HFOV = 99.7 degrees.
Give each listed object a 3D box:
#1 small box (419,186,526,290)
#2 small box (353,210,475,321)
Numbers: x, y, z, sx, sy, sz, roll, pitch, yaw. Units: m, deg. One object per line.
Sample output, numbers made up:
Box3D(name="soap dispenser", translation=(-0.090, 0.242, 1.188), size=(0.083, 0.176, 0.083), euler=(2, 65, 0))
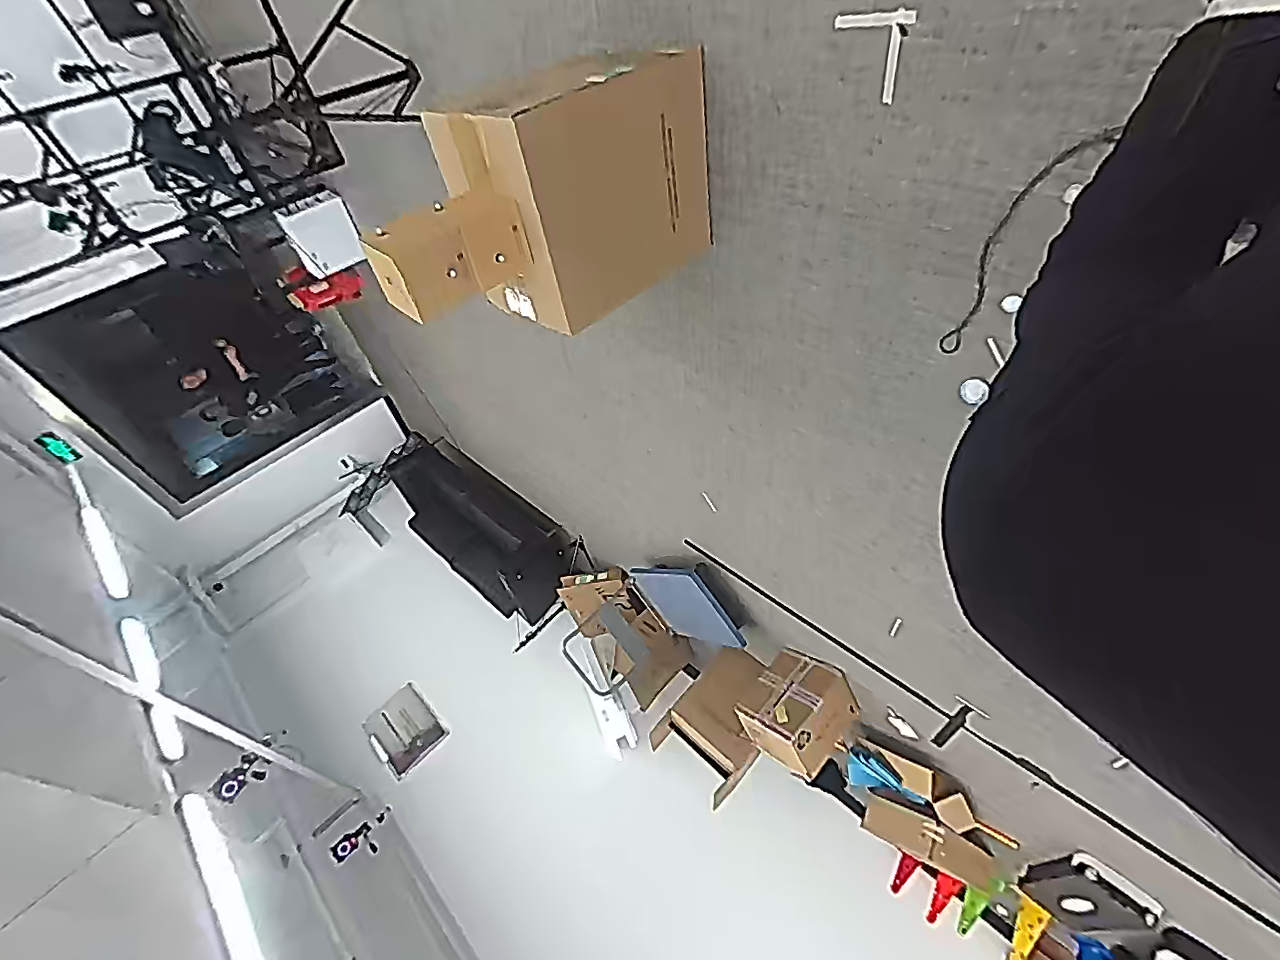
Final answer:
Box3D(name="small box", translation=(-0.399, -0.598, 1.325), size=(0.179, 0.176, 0.168), euler=(33, 151, 32))
Box3D(name="small box", translation=(-0.518, -0.505, 1.258), size=(0.179, 0.176, 0.168), euler=(34, 152, 30))
